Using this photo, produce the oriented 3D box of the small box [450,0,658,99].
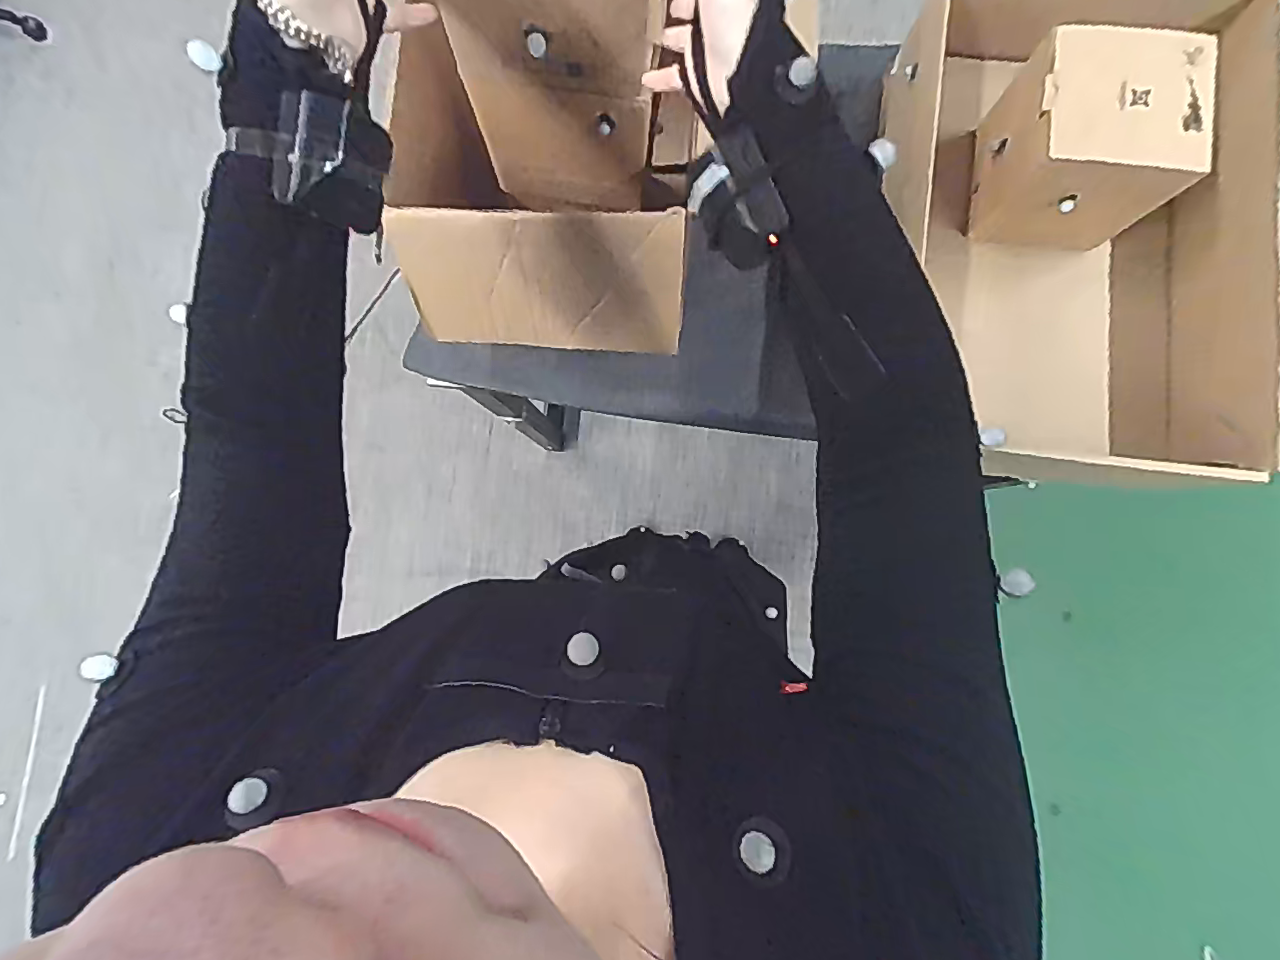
[{"bbox_3d":[-0.064,-0.447,0.417,0.168,0.176,0.179,5,84,-2],"label":"small box"}]
